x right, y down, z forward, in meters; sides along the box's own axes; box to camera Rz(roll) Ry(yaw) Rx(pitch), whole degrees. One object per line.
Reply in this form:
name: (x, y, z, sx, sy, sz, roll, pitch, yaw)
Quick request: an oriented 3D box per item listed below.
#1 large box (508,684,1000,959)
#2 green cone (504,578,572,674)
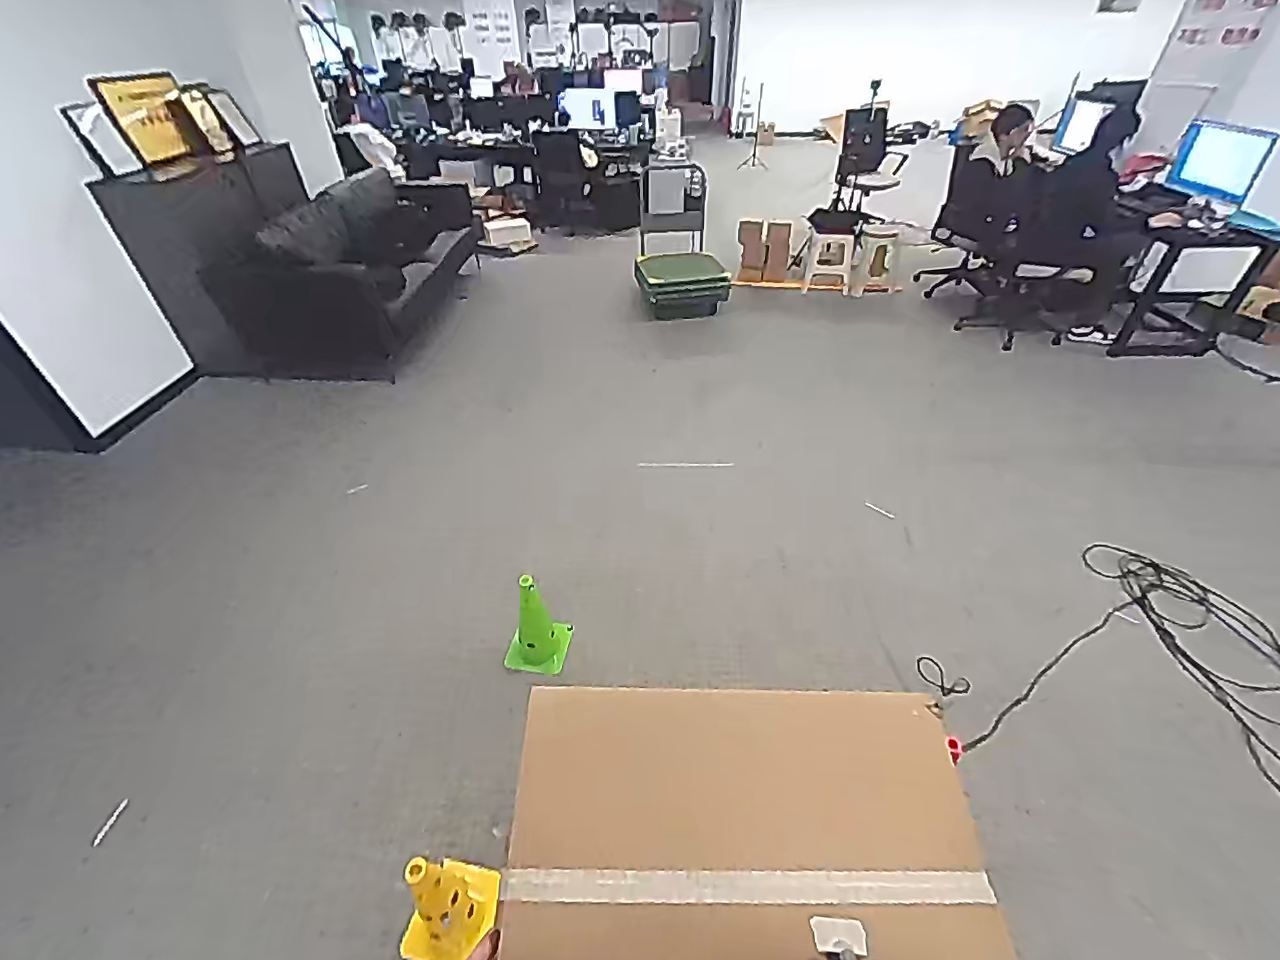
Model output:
large box: (0.086, 0.425, 0.585, 0.408, 0.320, 0.320, 2, 54, -2)
green cone: (-0.356, 0.447, 1.771, 0.200, 0.368, 0.202, 5, 41, 7)
